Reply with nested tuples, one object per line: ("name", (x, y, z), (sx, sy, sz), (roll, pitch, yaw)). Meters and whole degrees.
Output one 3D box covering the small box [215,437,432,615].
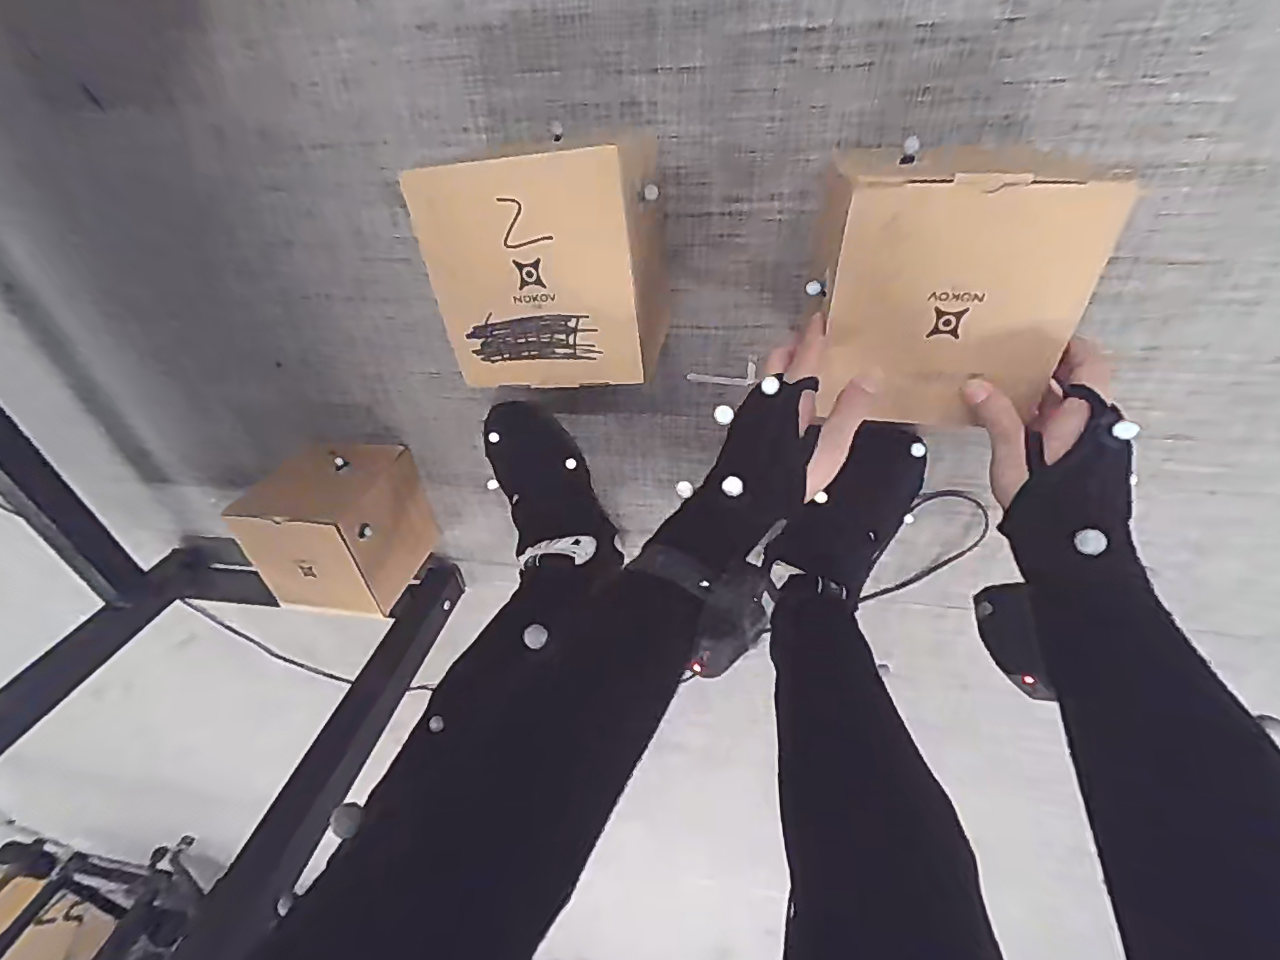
("small box", (-0.421, 0.060, 0.758), (0.168, 0.176, 0.179), (3, 126, 11))
